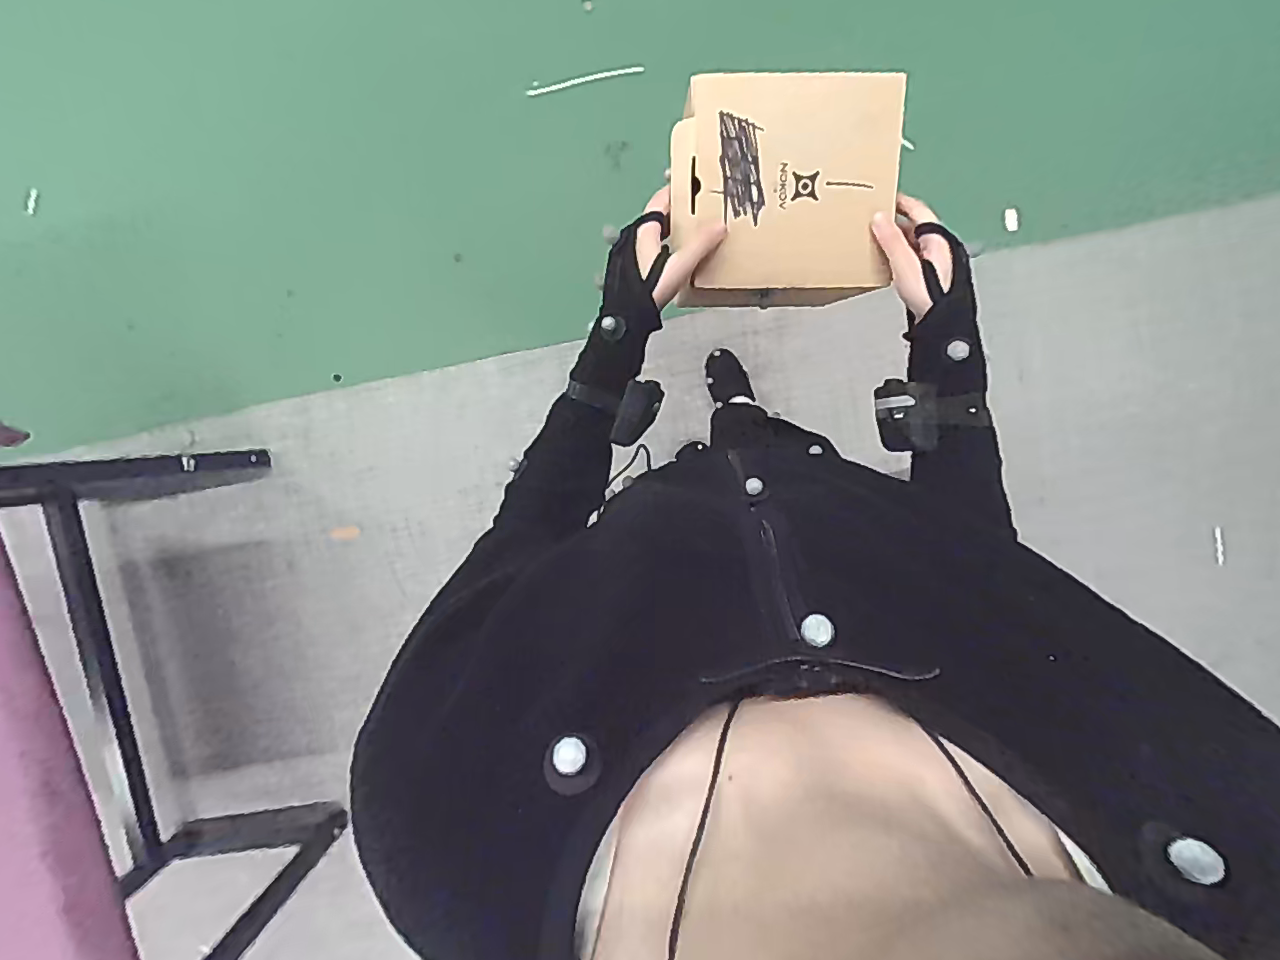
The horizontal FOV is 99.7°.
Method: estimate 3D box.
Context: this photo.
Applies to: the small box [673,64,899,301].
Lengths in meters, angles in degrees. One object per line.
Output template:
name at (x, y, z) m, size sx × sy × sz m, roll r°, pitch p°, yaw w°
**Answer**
small box at (0.124, -0.271, 0.531) m, size 0.179 × 0.176 × 0.168 m, roll -2°, pitch 102°, yaw -1°
